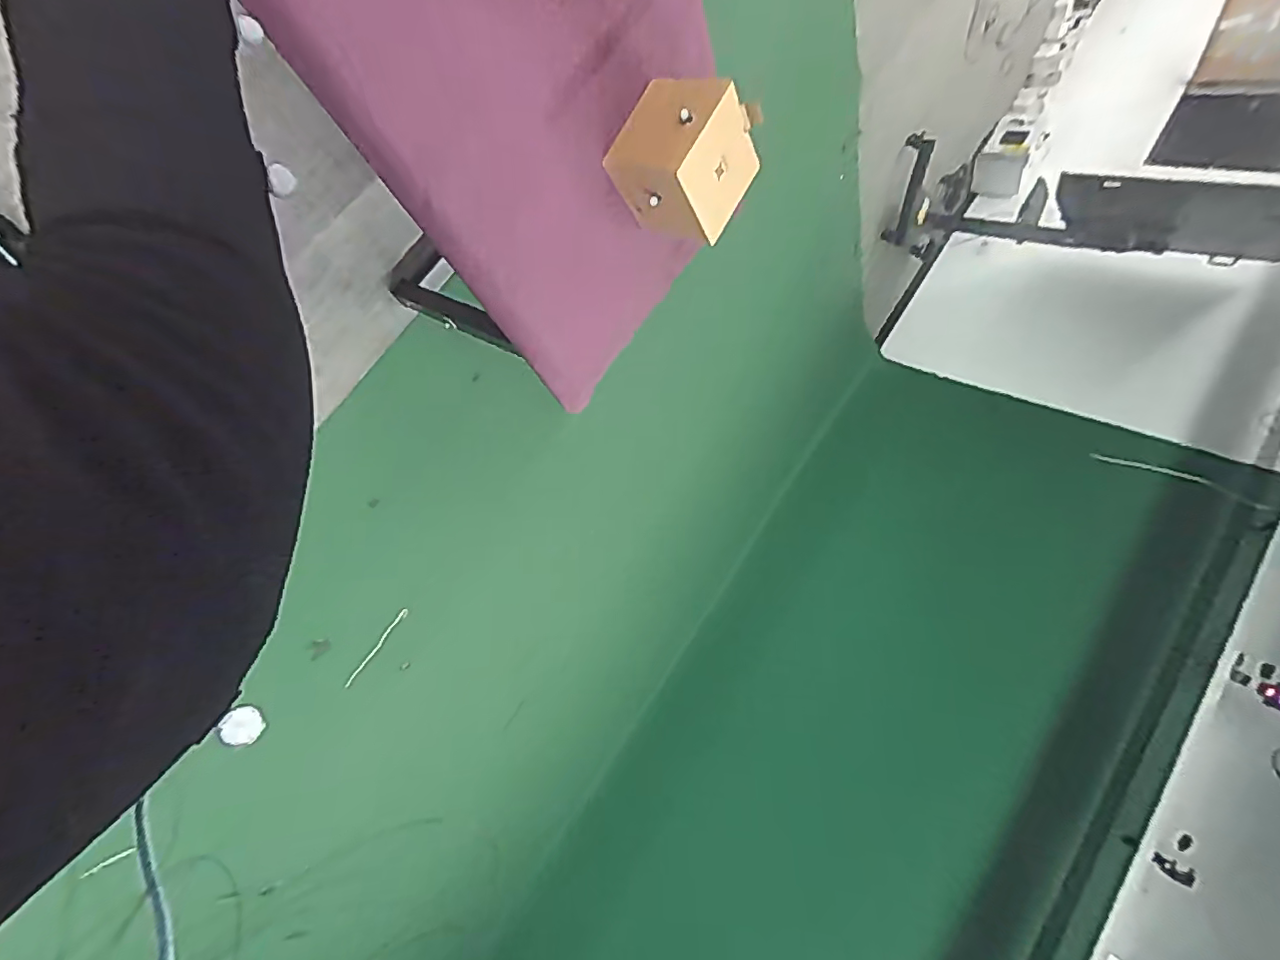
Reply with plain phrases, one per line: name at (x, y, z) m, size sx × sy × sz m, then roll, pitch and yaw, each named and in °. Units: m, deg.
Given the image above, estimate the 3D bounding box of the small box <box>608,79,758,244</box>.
small box at (0.070, -0.543, 0.929) m, size 0.179 × 0.176 × 0.168 m, roll -60°, pitch 147°, yaw -3°
